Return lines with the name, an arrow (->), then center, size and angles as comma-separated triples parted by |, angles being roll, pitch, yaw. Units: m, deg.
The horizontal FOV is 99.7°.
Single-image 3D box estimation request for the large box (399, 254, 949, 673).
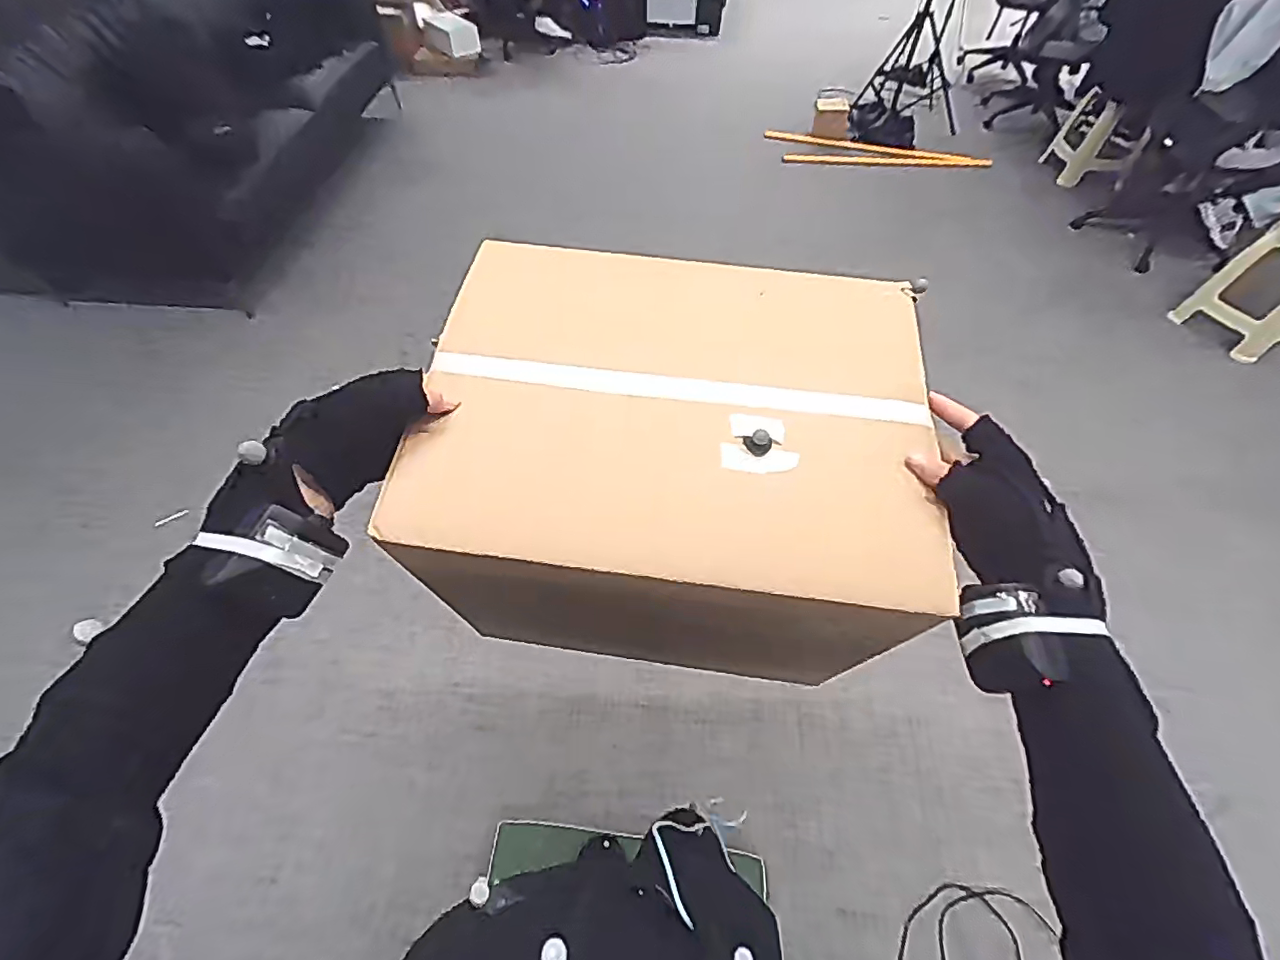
large box -> 0.032, 0.002, 0.583 | 0.408, 0.320, 0.320 | 7, 62, 2
